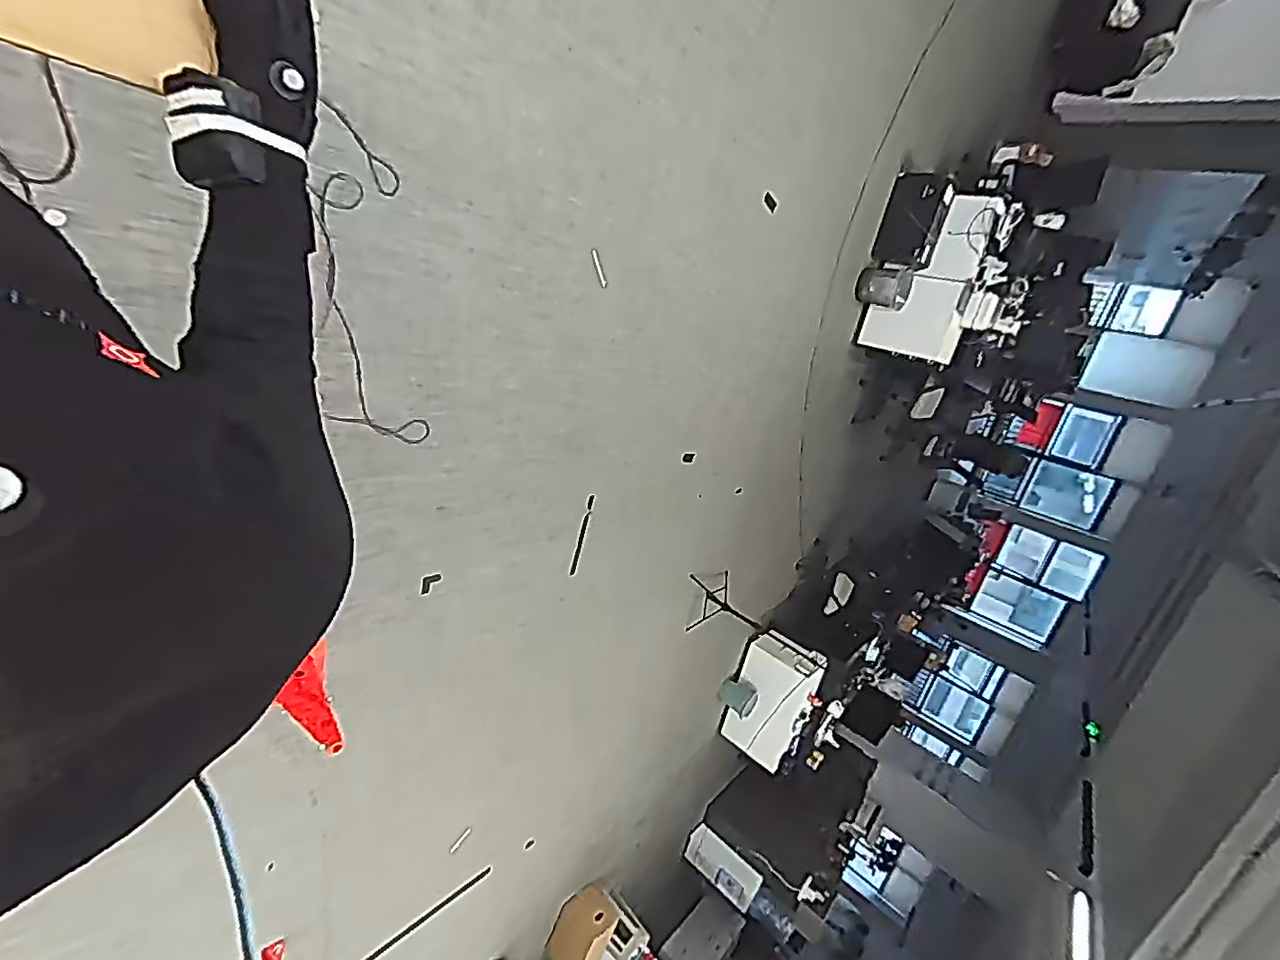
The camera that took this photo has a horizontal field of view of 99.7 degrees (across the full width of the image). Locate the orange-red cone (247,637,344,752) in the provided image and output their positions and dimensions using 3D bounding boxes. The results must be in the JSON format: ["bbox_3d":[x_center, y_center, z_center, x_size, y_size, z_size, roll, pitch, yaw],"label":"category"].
[{"bbox_3d":[-0.932,0.638,1.522,0.198,0.360,0.199,-11,119,-50],"label":"orange-red cone"}]

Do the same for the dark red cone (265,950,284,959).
[{"bbox_3d":[-1.270,1.856,1.826,0.201,0.394,0.202,2,109,-52],"label":"dark red cone"}]
